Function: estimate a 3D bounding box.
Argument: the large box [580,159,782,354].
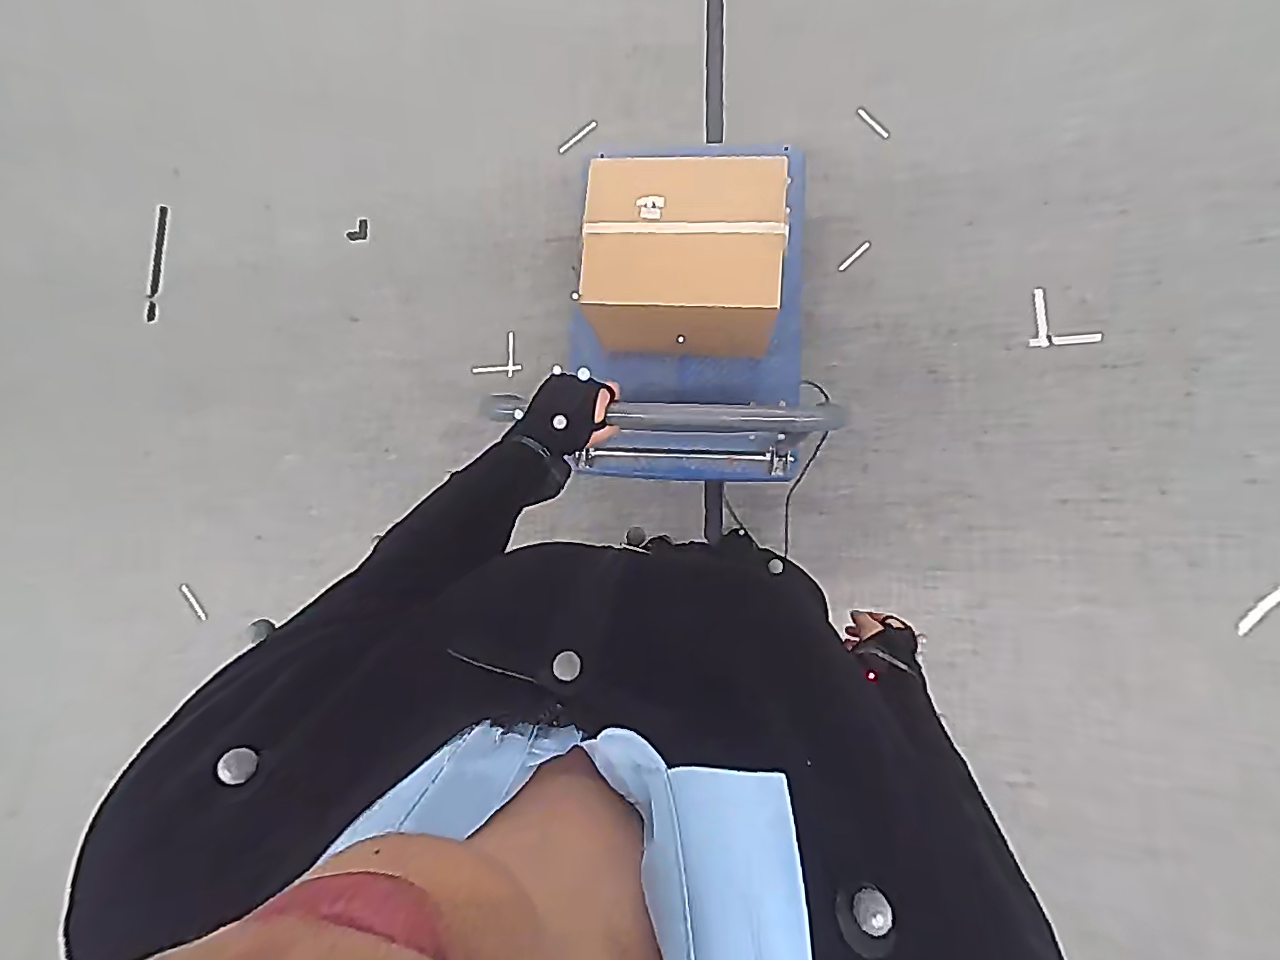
[{"bbox_3d":[0.104,-0.486,1.244,0.408,0.320,0.320,4,84,9],"label":"large box"}]
